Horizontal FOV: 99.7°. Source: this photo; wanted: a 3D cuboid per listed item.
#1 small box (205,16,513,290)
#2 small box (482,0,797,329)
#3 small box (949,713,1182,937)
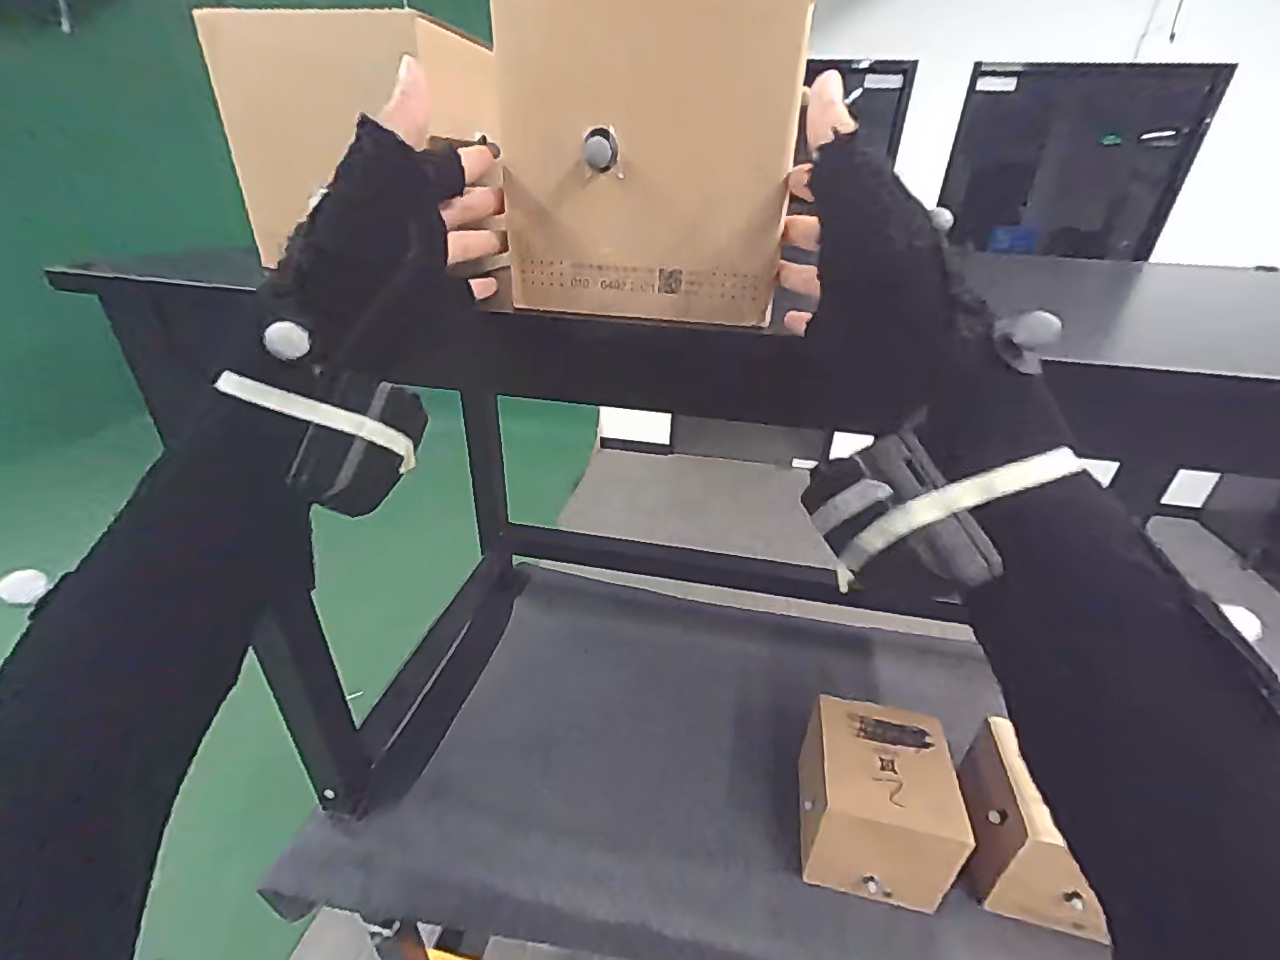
[{"bbox_3d":[-0.210,-0.273,0.470,0.168,0.176,0.179,8,30,9],"label":"small box"},{"bbox_3d":[0.011,-0.210,0.378,0.168,0.176,0.179,7,29,8],"label":"small box"},{"bbox_3d":[0.539,0.454,0.719,0.168,0.176,0.179,9,29,12],"label":"small box"}]
